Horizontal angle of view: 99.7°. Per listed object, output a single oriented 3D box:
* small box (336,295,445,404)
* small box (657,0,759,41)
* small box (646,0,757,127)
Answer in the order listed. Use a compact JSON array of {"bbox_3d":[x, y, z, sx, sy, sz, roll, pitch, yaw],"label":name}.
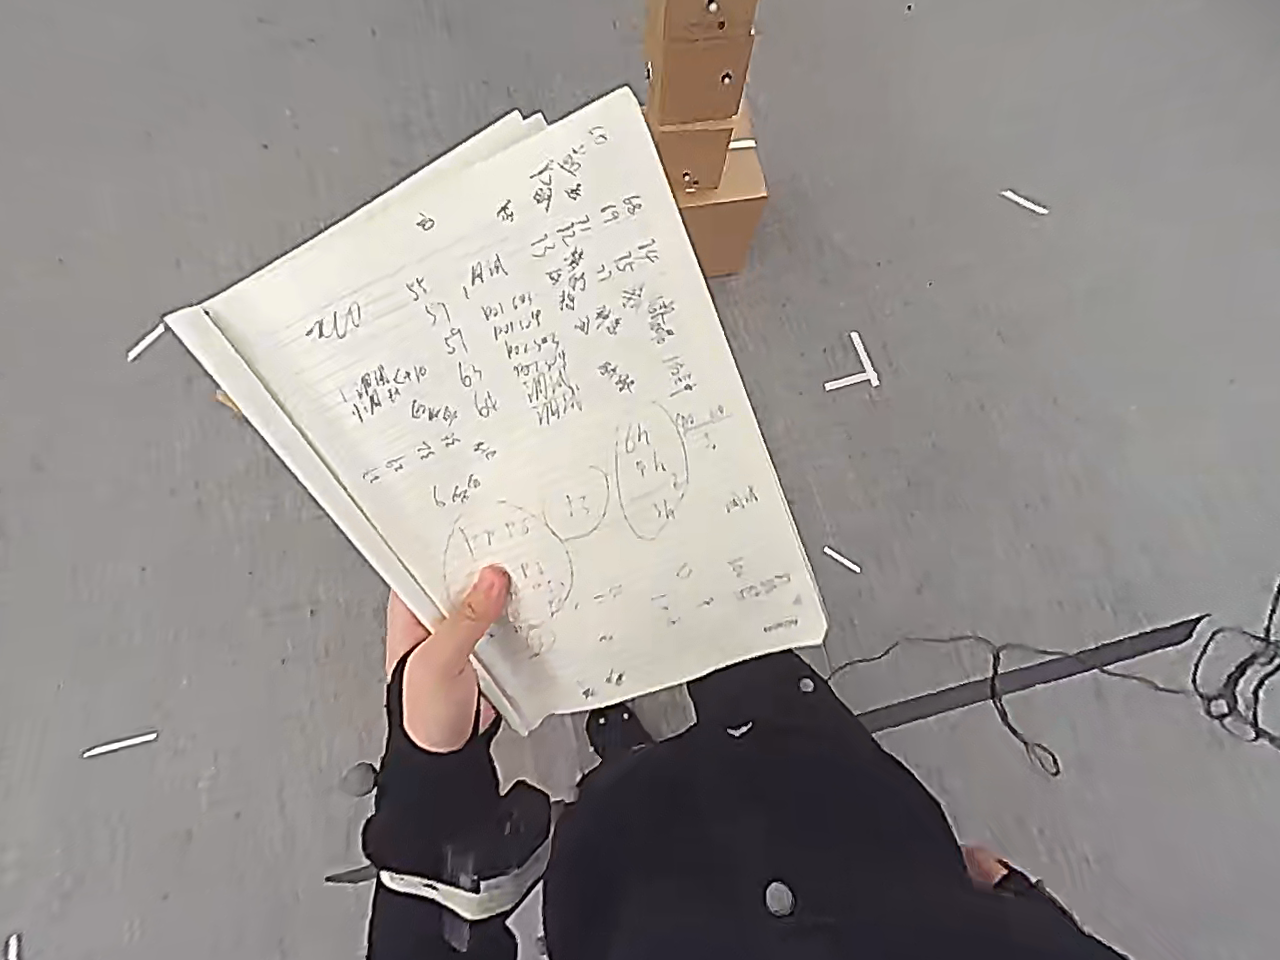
[{"bbox_3d":[-0.625,-0.328,1.388,0.168,0.176,0.179,30,74,5],"label":"small box"},{"bbox_3d":[0.115,-0.899,0.920,0.168,0.176,0.179,-8,75,-4],"label":"small box"},{"bbox_3d":[0.113,-0.845,1.076,0.179,0.176,0.168,-11,75,-4],"label":"small box"}]
